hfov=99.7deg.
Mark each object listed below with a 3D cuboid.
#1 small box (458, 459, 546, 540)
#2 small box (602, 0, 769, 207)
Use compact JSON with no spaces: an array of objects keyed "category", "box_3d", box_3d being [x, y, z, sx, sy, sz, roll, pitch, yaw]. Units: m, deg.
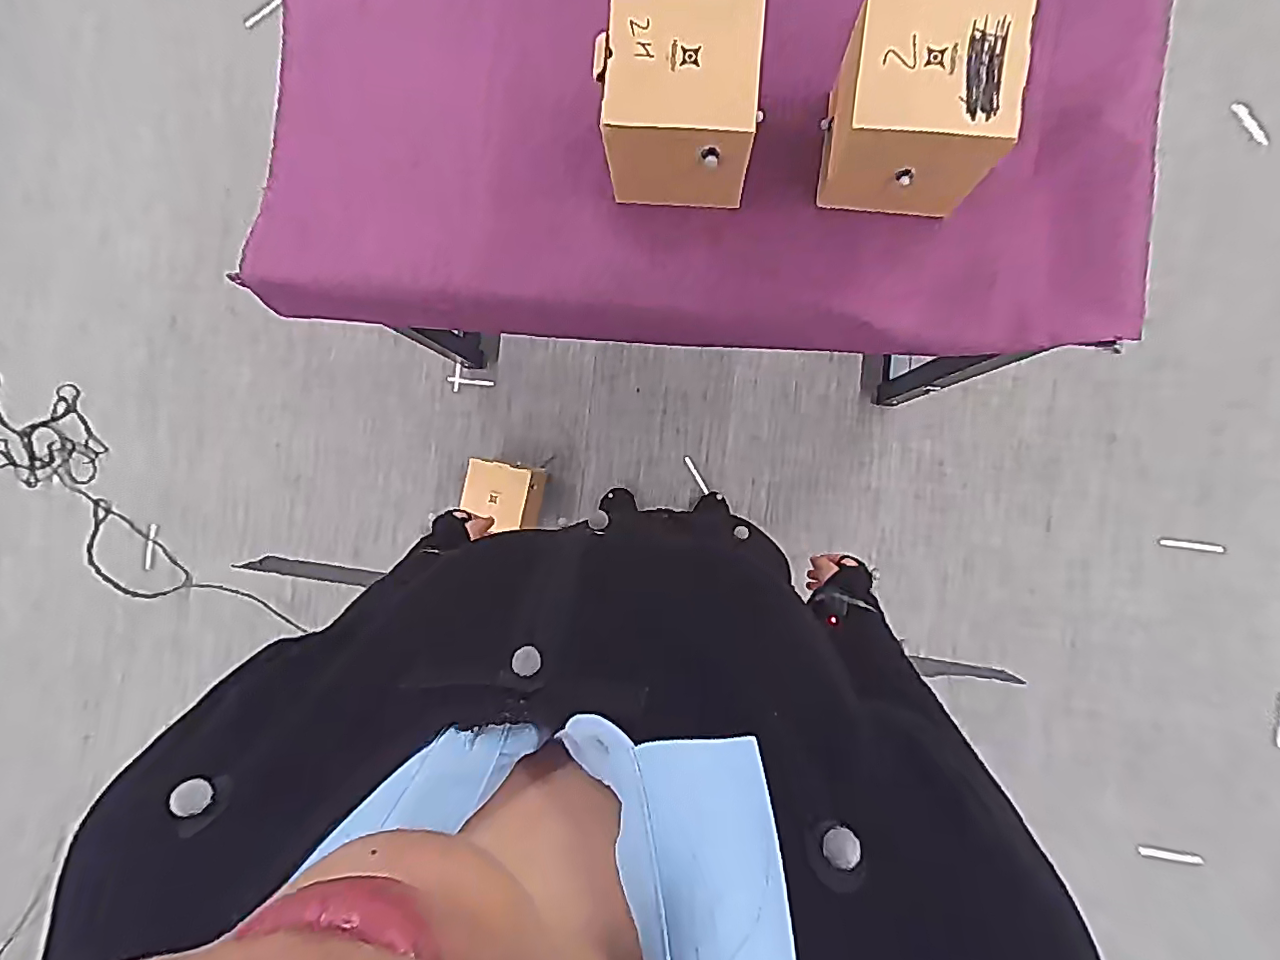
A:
[{"category":"small box","box_3d":[-0.361,0.049,1.443,0.168,0.176,0.179,12,91,4]},{"category":"small box","box_3d":[0.055,-0.467,0.681,0.179,0.176,0.168,5,89,5]}]
